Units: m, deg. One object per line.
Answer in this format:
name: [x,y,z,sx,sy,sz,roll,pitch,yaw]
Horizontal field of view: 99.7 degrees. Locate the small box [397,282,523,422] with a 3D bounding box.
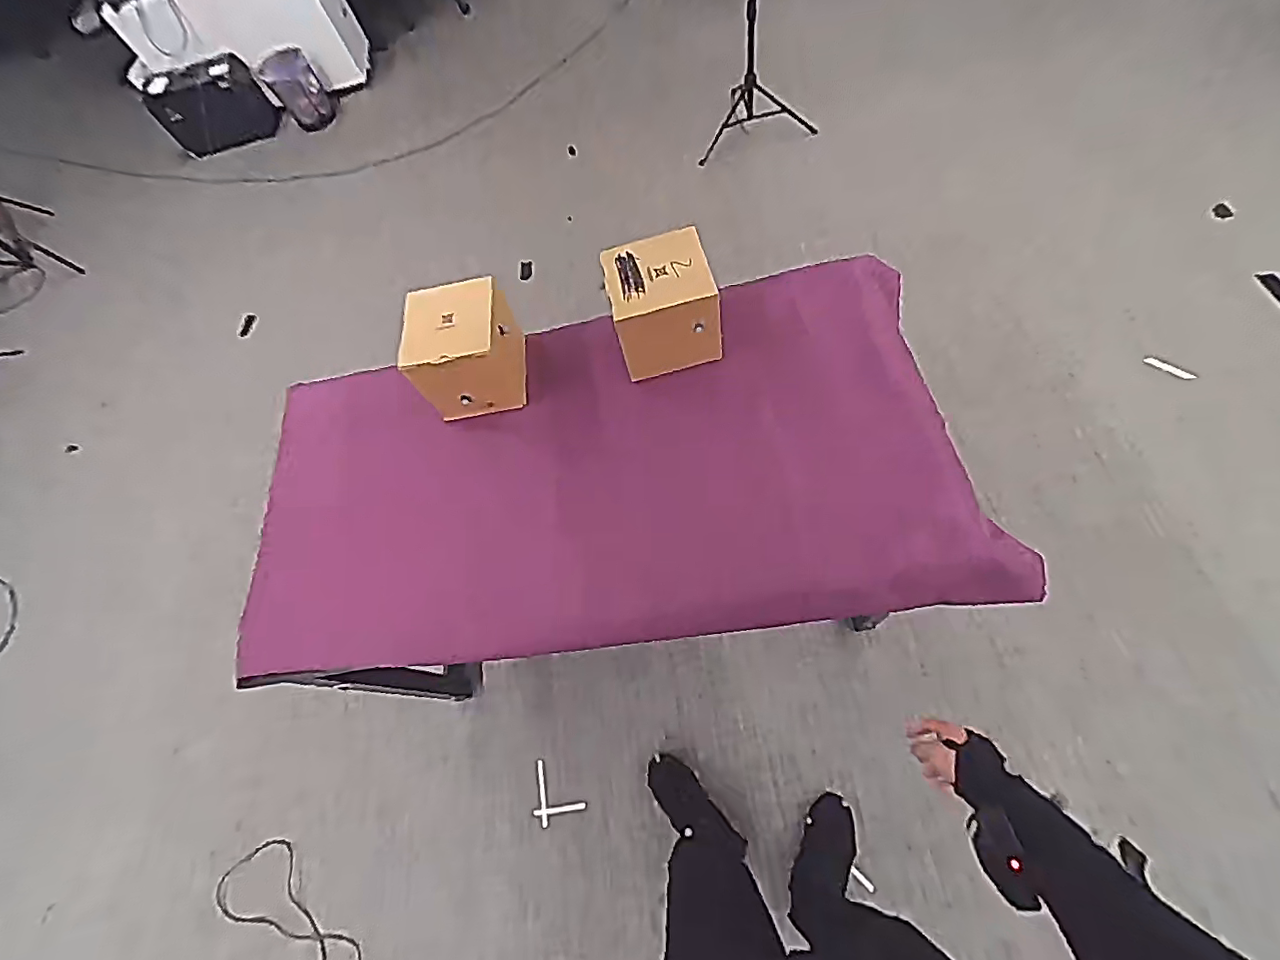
small box: [-0.325,-0.234,1.009,0.168,0.176,0.179,-9,64,6]
